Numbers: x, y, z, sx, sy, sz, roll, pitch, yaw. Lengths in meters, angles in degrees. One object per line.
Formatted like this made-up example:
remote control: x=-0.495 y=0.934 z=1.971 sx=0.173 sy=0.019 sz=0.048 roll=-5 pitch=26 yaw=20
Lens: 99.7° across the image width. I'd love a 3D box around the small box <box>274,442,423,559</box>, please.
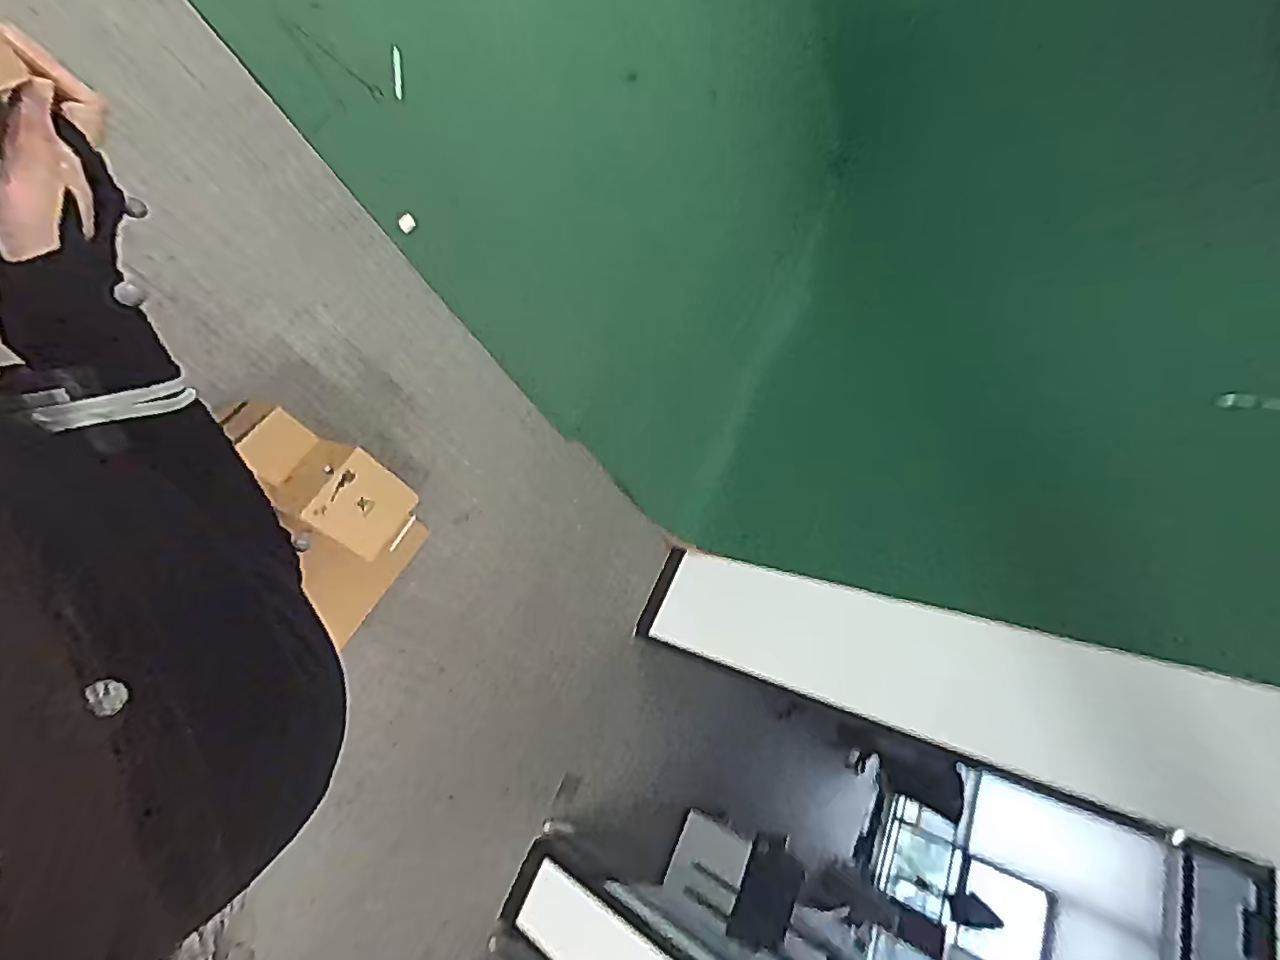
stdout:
small box: x=-0.598 y=0.035 z=1.116 sx=0.168 sy=0.176 sz=0.179 roll=-61 pitch=140 yaw=-25
